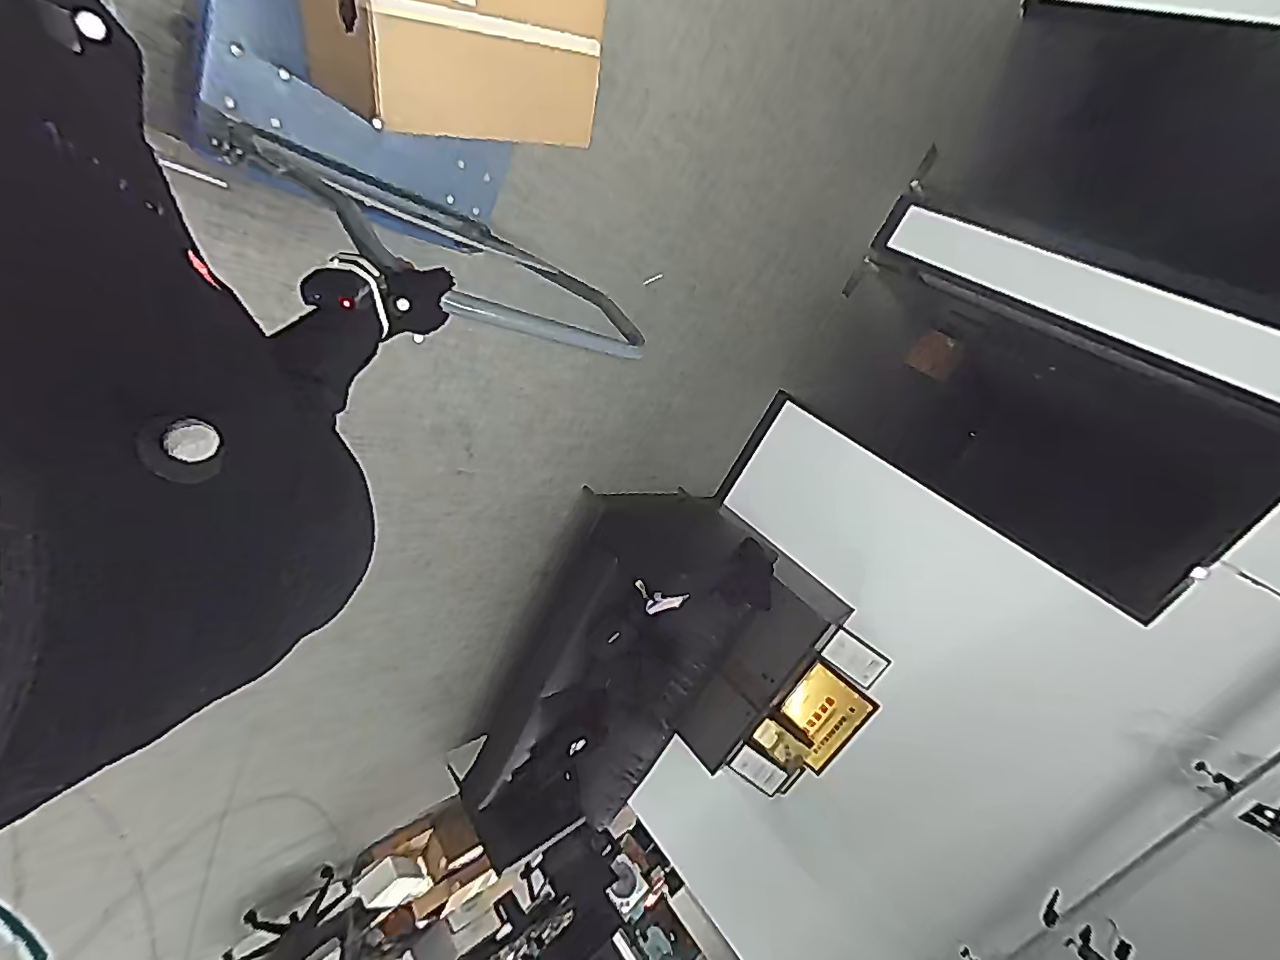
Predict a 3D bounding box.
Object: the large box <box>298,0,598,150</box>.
[{"bbox_3d":[-0.329,-0.795,0.932,0.408,0.320,0.320,-21,140,-36],"label":"large box"}]
